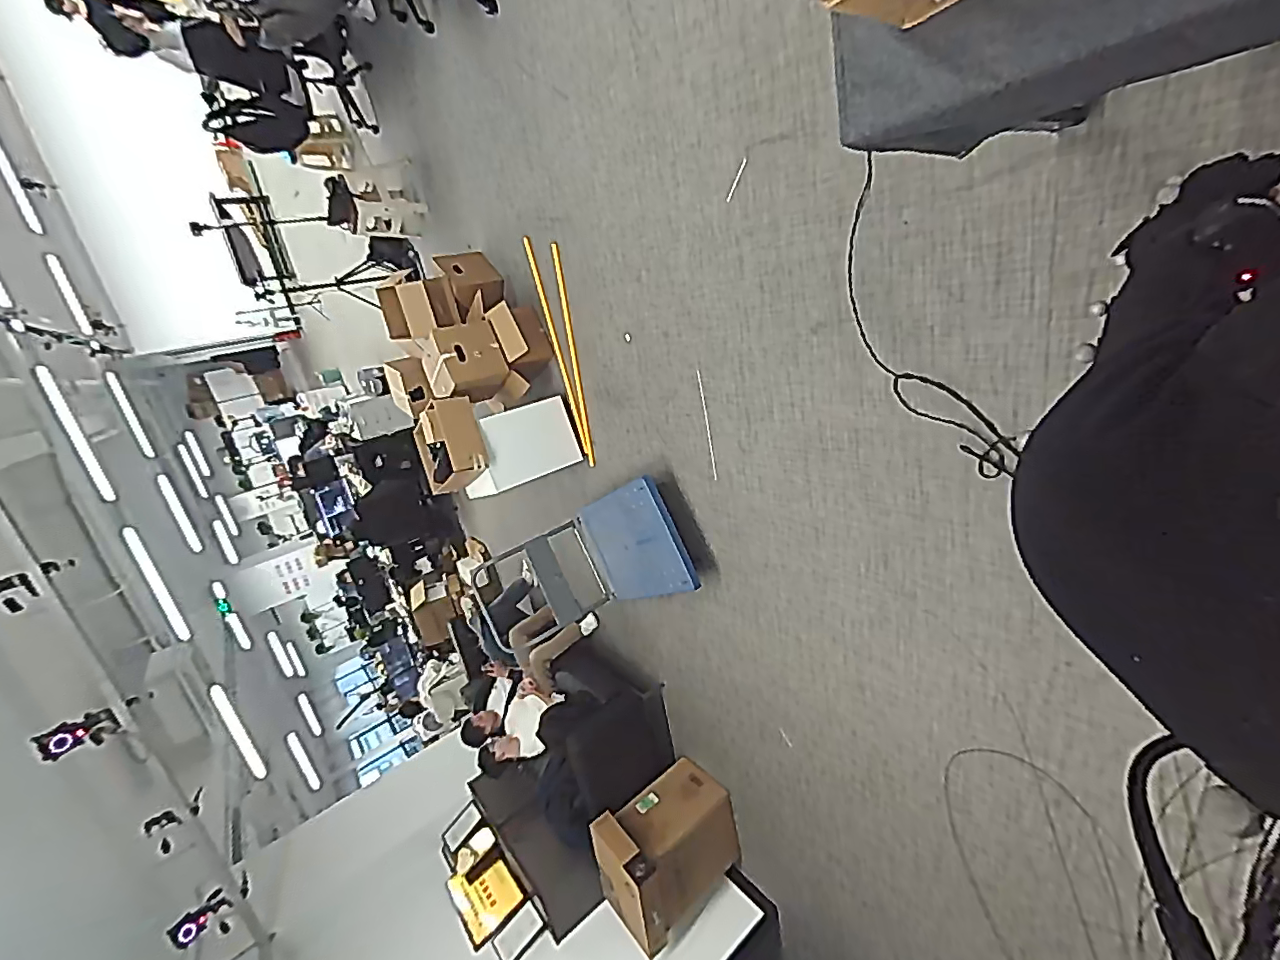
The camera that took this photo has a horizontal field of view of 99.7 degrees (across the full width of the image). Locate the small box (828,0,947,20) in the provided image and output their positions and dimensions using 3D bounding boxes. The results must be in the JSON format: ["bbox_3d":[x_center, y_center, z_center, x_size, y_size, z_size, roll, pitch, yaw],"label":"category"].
[{"bbox_3d":[0.289,-0.598,0.525,0.168,0.176,0.179,10,118,52],"label":"small box"}]
